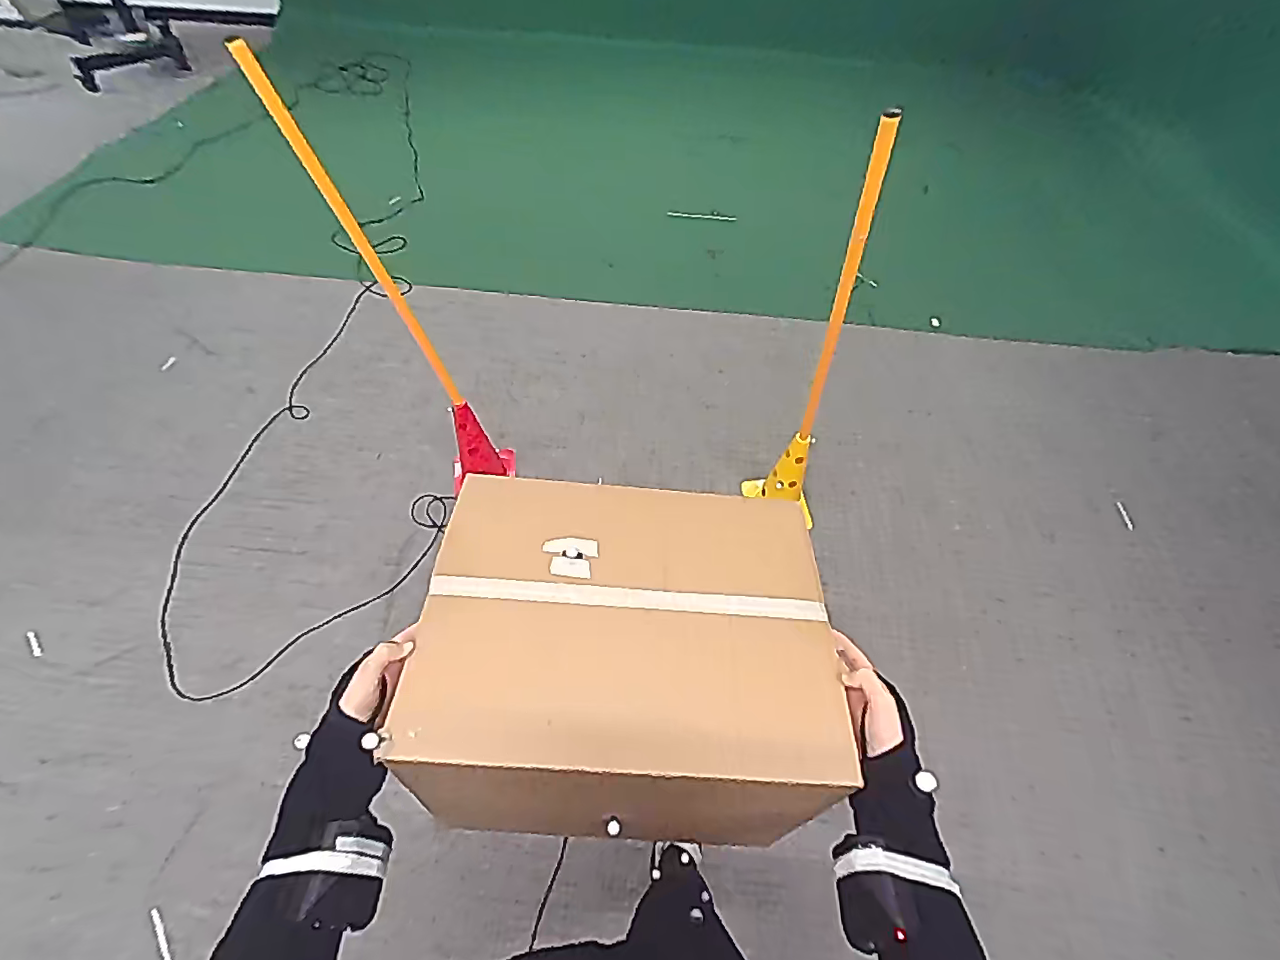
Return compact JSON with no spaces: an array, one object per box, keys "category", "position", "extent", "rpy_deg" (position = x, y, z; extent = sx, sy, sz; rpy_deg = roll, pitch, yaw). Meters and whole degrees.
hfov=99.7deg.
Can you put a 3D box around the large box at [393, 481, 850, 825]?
[{"category":"large box","position":[-0.019,0.224,0.672],"extent":[0.408,0.320,0.320],"rpy_deg":[4,48,-2]}]
